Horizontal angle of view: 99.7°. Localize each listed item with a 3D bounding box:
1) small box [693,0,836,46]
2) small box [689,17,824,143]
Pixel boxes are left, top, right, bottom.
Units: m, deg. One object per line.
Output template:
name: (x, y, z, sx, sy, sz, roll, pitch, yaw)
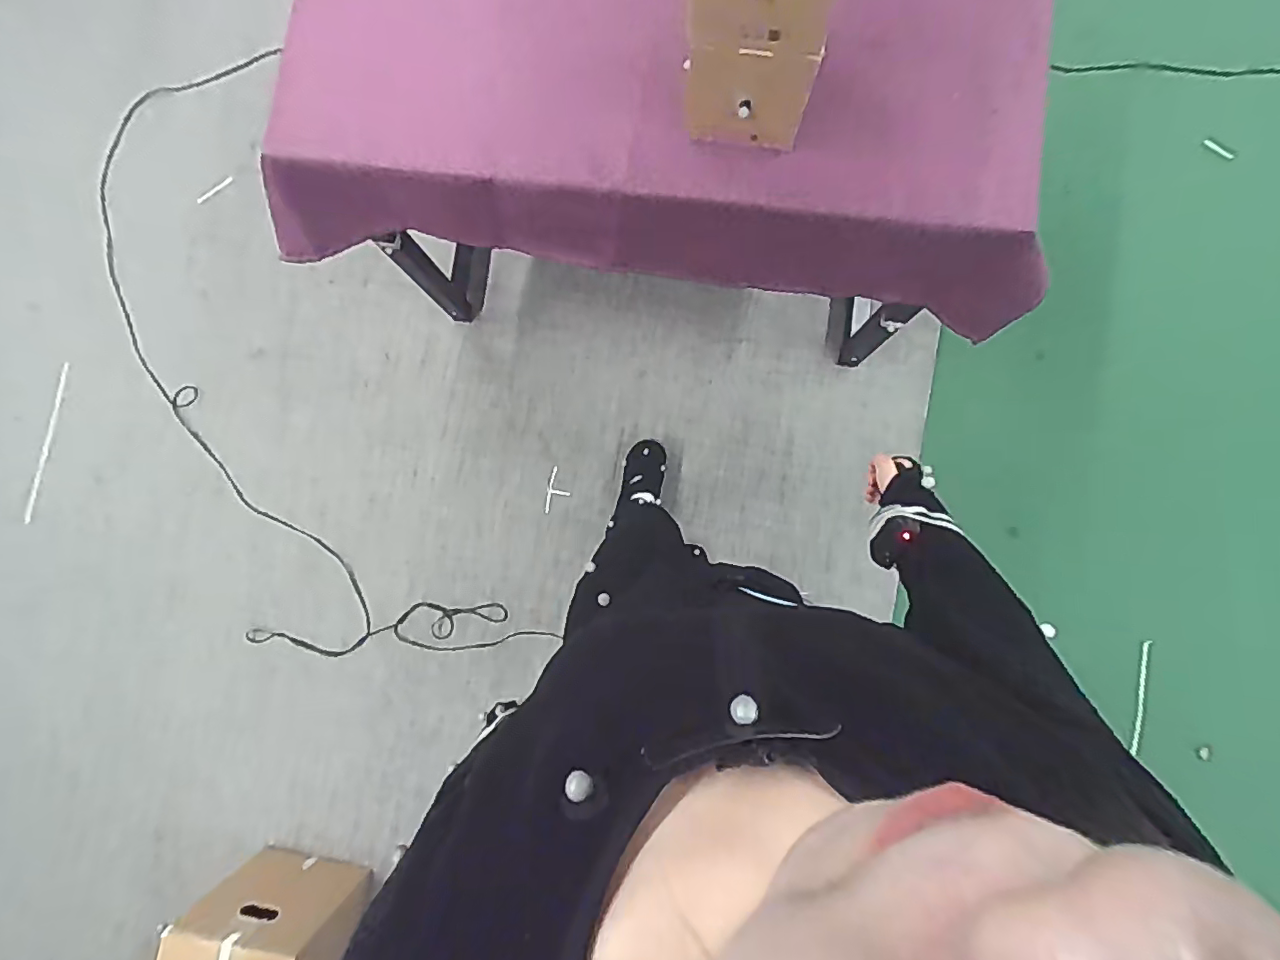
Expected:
small box: (0.151, -0.625, 0.590, 0.168, 0.176, 0.179, 9, 85, 3)
small box: (0.162, -0.611, 0.754, 0.168, 0.176, 0.179, 9, 86, 3)
